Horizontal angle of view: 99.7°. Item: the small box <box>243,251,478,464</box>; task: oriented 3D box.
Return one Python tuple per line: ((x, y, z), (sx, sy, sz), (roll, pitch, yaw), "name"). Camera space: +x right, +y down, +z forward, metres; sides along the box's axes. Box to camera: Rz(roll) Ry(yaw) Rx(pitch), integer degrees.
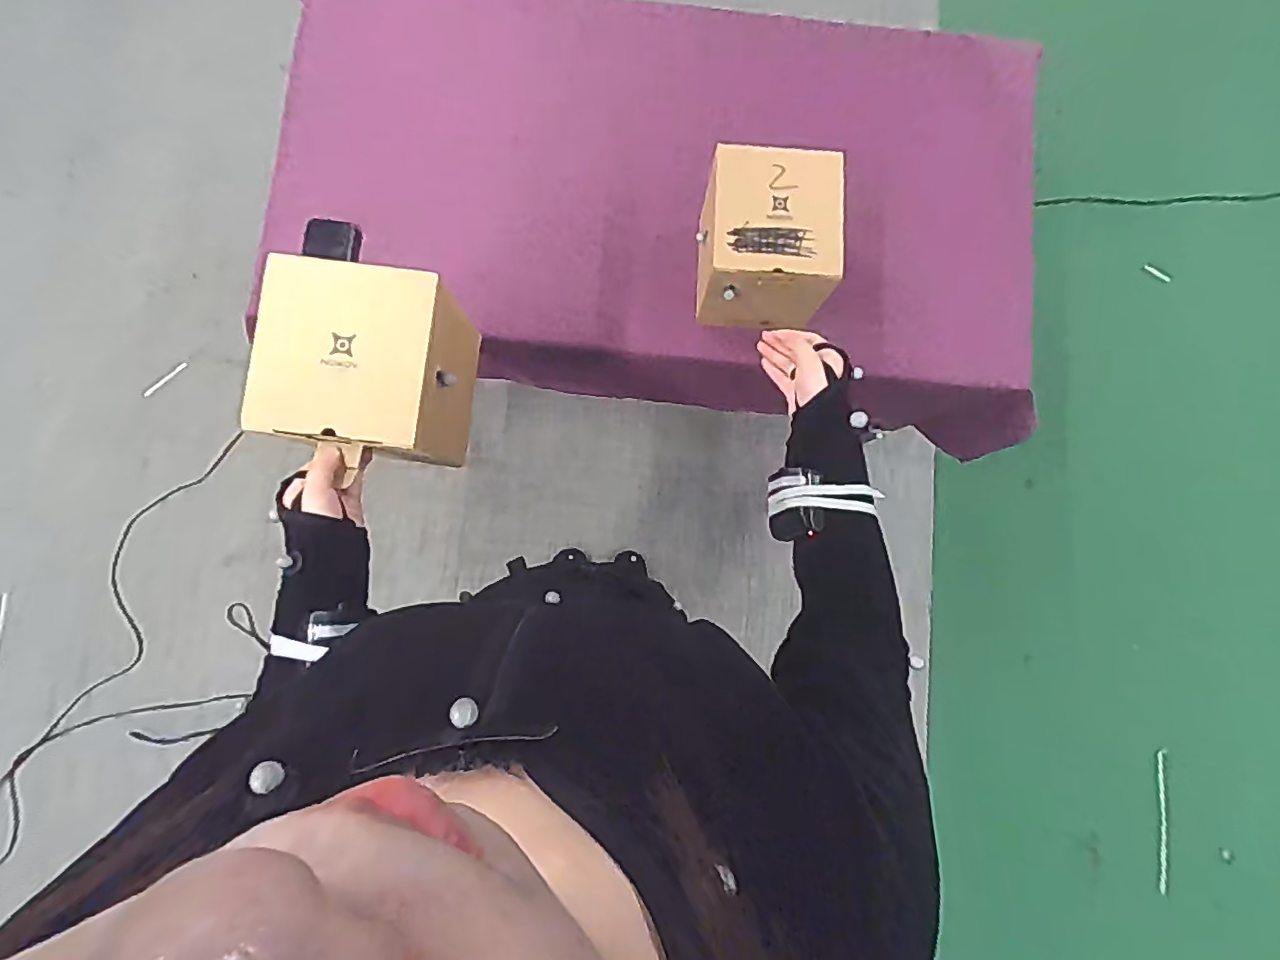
((-0.286, -0.120, 0.596), (0.168, 0.176, 0.179), (7, 86, -3), "small box")
